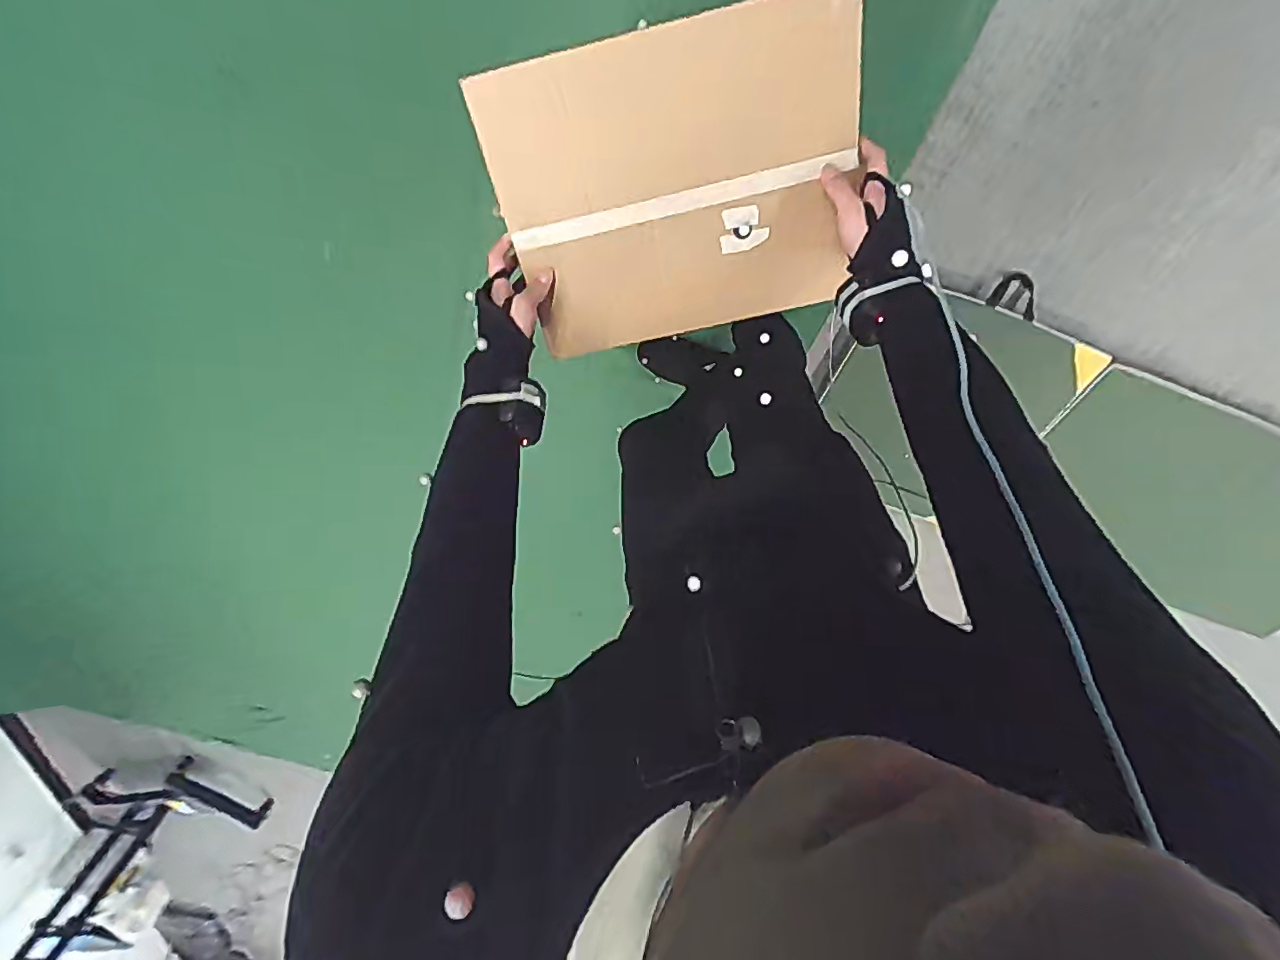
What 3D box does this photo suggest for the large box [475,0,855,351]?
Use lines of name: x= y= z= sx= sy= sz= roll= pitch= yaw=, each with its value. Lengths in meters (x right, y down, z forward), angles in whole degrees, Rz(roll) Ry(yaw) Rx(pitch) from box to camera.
large box: x=0.039 y=-0.417 z=0.755 sx=0.408 sy=0.320 sz=0.320 roll=-11 pitch=125 yaw=4
